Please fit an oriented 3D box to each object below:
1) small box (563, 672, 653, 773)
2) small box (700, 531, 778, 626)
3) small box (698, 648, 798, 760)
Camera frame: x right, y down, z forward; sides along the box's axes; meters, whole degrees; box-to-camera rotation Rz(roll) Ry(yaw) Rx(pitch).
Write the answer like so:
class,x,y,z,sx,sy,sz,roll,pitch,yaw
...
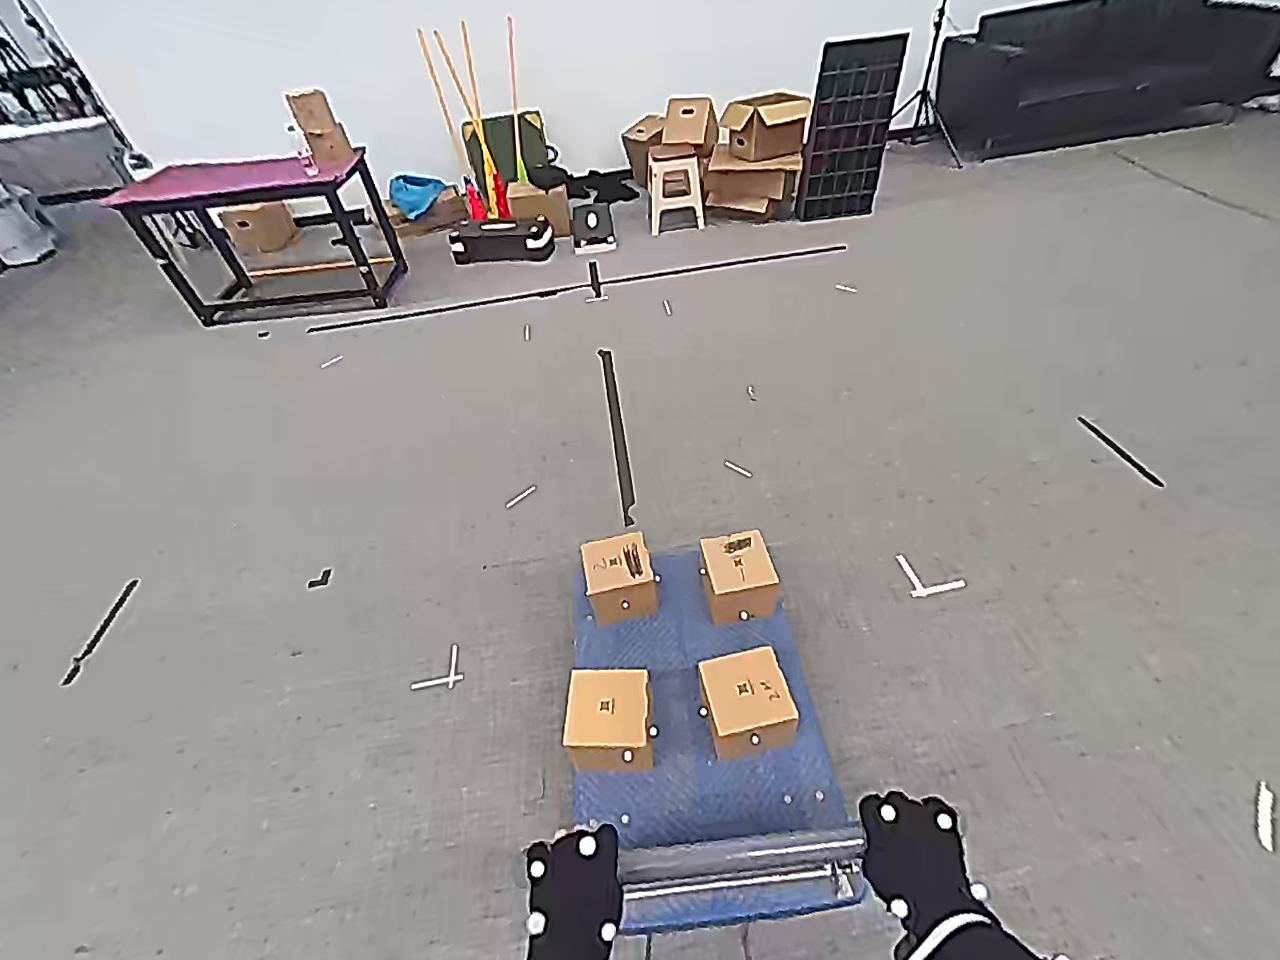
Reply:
class,x,y,z,sx,sy,sz,roll,pitch,yaw
small box,-0.065,0.549,1.222,0.179,0.176,0.168,-2,45,4
small box,0.259,0.266,1.452,0.168,0.176,0.179,-11,46,-2
small box,0.237,0.508,1.219,0.179,0.176,0.168,-12,46,-4
